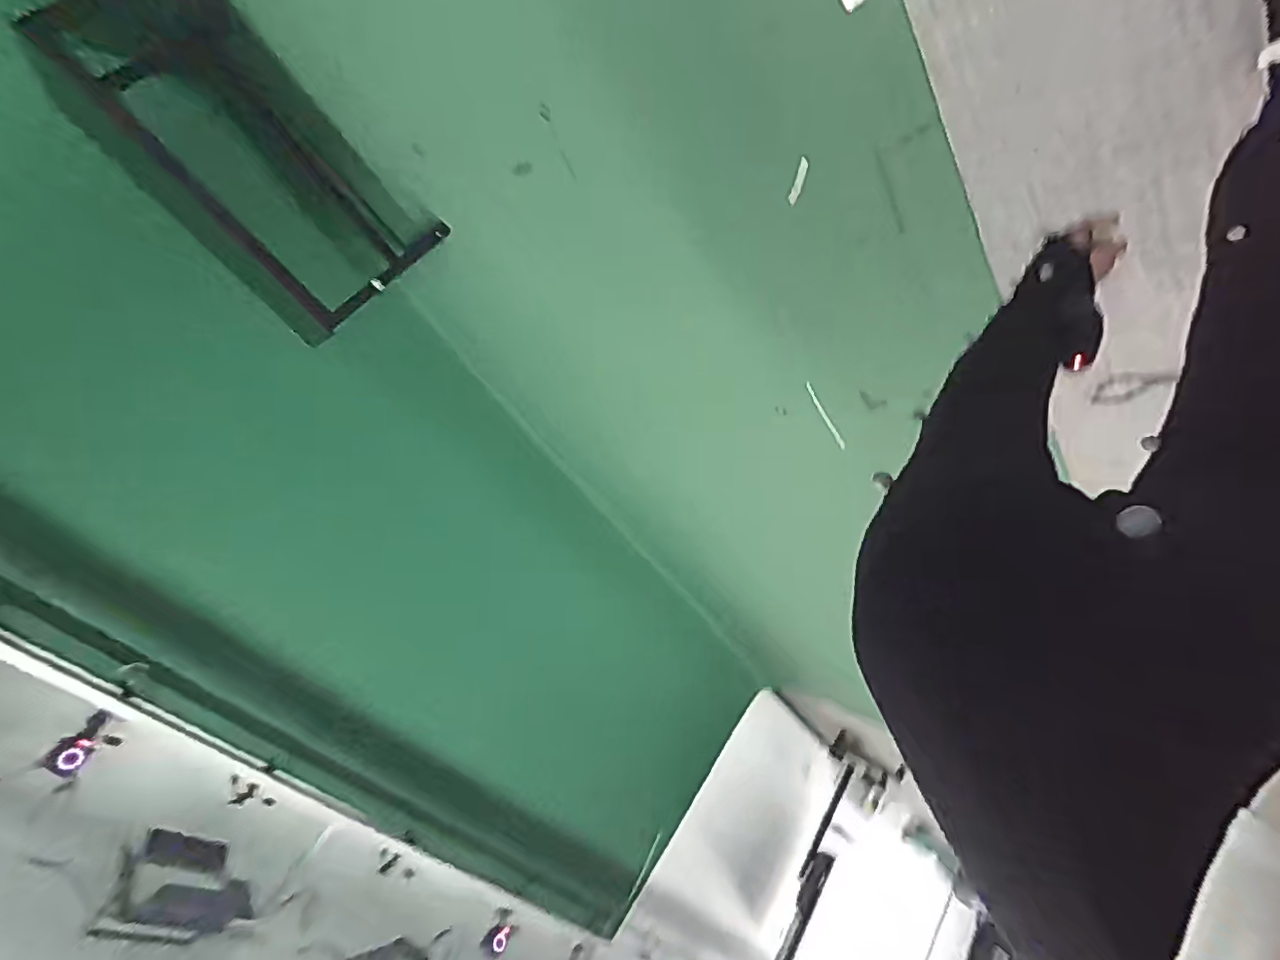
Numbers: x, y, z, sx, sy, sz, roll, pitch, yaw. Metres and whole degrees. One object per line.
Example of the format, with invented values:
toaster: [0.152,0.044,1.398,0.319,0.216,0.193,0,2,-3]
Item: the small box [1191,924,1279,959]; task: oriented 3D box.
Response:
small box: [1.515,1.262,1.350,0.168,0.176,0.179,48,158,-24]
